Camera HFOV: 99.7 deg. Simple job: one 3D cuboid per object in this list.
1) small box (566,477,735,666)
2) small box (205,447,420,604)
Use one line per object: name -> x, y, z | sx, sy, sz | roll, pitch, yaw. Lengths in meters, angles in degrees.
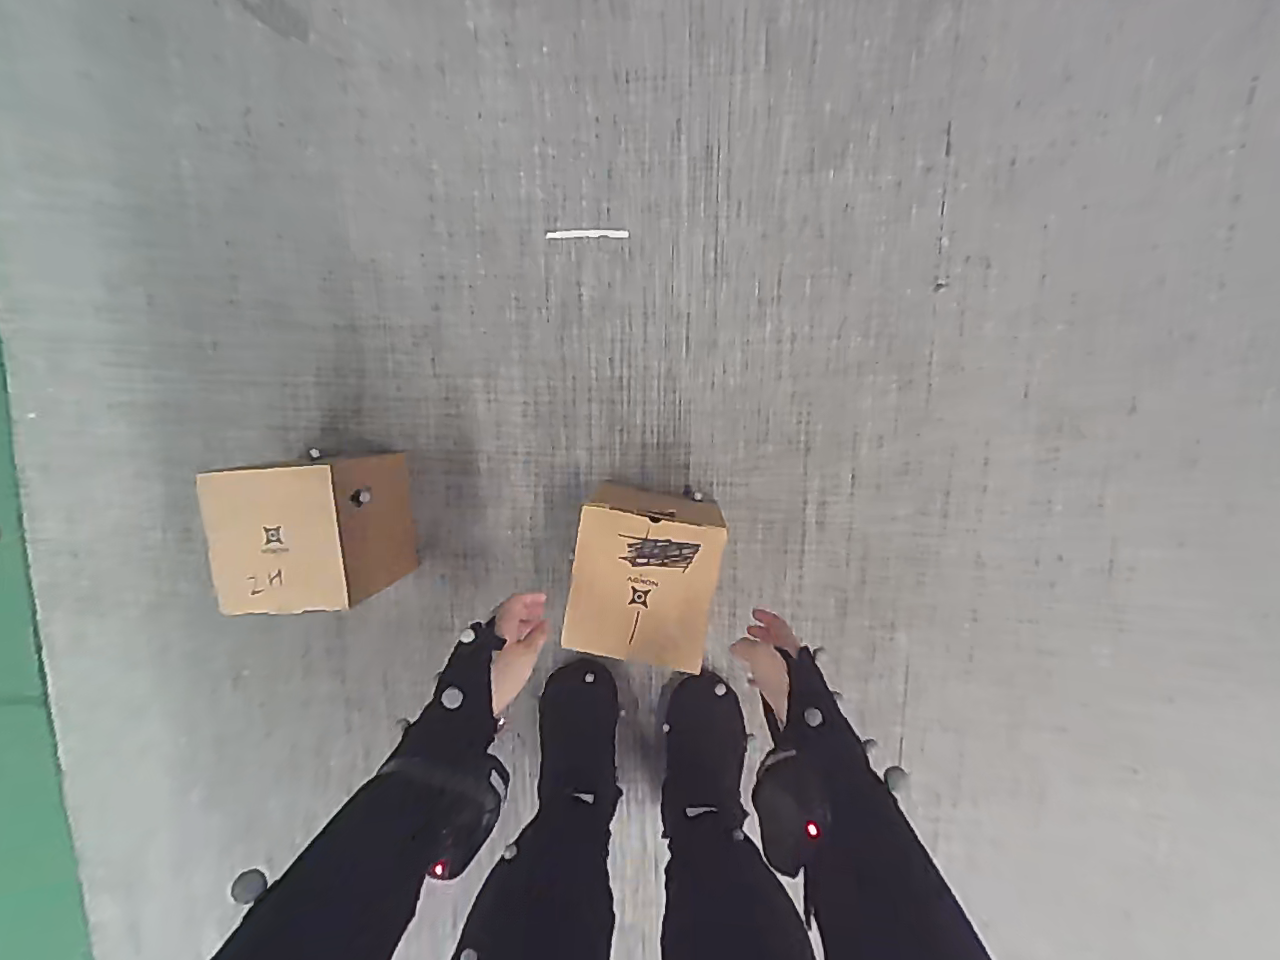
small box -> 0.014, 0.101, 0.682 | 0.168, 0.176, 0.179 | 11, 99, 3
small box -> -0.411, 0.048, 0.707 | 0.168, 0.176, 0.179 | -3, 98, 5
